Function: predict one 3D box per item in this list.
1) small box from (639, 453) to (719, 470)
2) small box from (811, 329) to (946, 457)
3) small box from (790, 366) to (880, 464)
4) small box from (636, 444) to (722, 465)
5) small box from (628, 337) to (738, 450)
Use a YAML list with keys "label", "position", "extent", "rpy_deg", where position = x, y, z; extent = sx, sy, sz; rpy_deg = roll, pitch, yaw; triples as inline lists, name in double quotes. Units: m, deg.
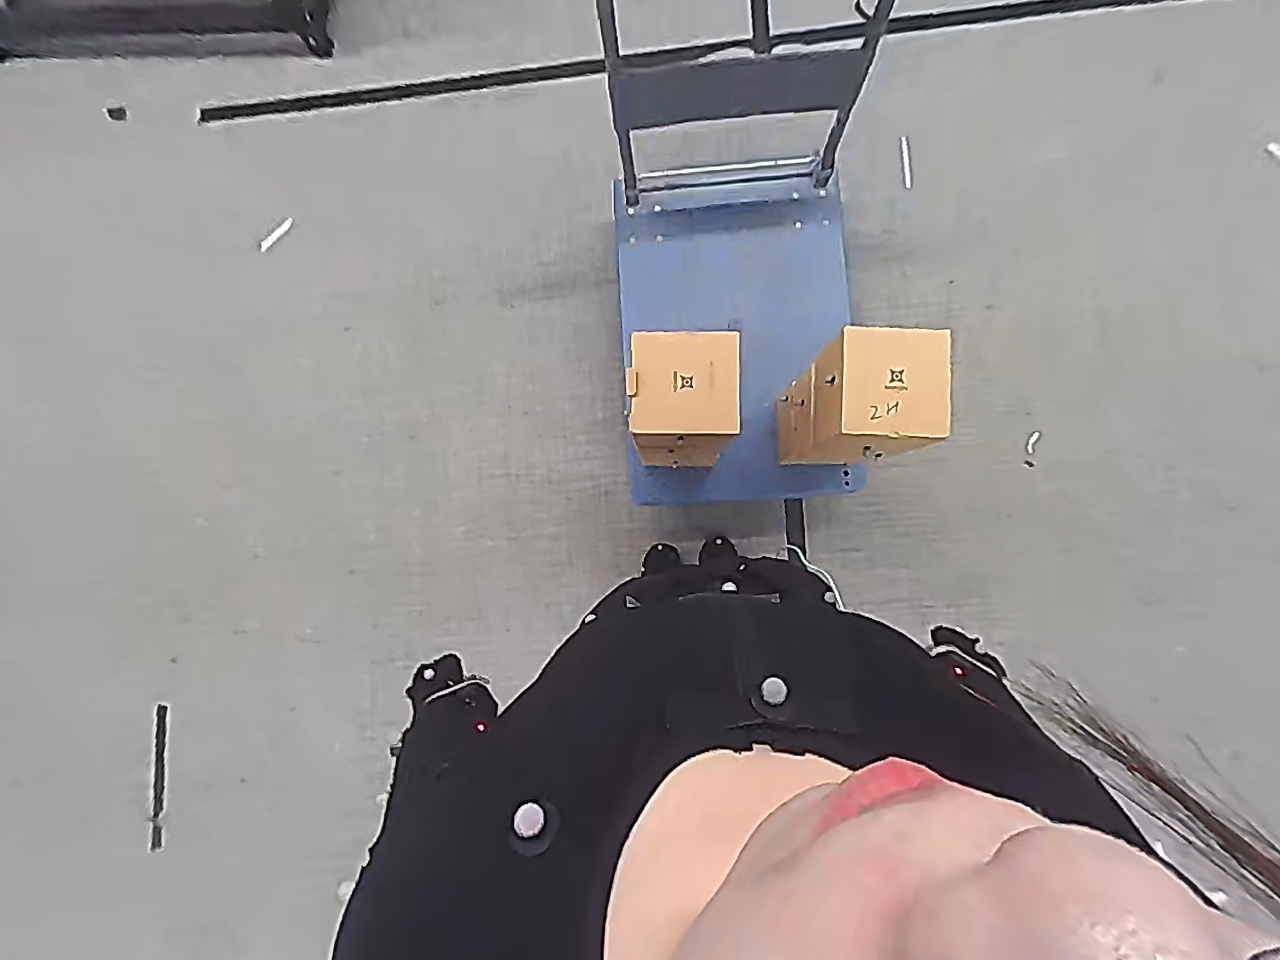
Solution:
- label: "small box"
  position: [0.090, -0.116, 1.270]
  extent: [0.179, 0.176, 0.168]
  rpy_deg: [1, 85, 4]
- label: "small box"
  position: [0.398, -0.141, 0.925]
  extent: [0.168, 0.176, 0.179]
  rpy_deg: [3, 85, 3]
- label: "small box"
  position: [0.406, -0.124, 1.088]
  extent: [0.179, 0.176, 0.168]
  rpy_deg: [2, 85, 2]
- label: "small box"
  position: [0.077, -0.131, 1.107]
  extent: [0.168, 0.176, 0.179]
  rpy_deg: [-2, 84, 3]
- label: "small box"
  position: [0.074, -0.143, 0.943]
  extent: [0.179, 0.176, 0.168]
  rpy_deg: [1, 86, 3]
